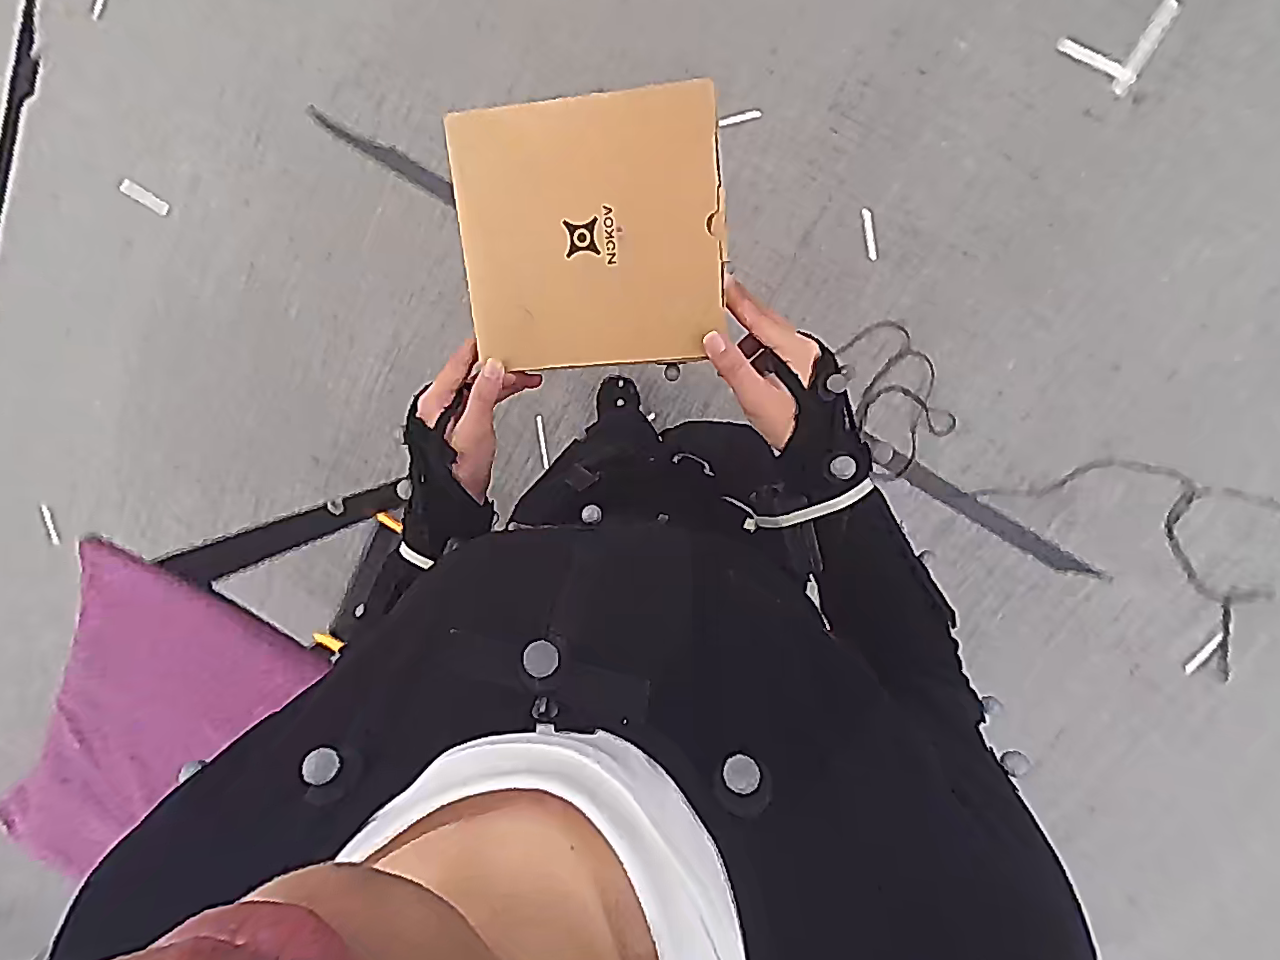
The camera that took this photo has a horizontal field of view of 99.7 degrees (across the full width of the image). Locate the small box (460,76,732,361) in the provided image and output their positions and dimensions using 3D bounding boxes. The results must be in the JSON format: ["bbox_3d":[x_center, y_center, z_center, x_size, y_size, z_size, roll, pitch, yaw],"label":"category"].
[{"bbox_3d":[-0.019,-0.182,0.431,0.179,0.176,0.168,-1,103,6],"label":"small box"}]
